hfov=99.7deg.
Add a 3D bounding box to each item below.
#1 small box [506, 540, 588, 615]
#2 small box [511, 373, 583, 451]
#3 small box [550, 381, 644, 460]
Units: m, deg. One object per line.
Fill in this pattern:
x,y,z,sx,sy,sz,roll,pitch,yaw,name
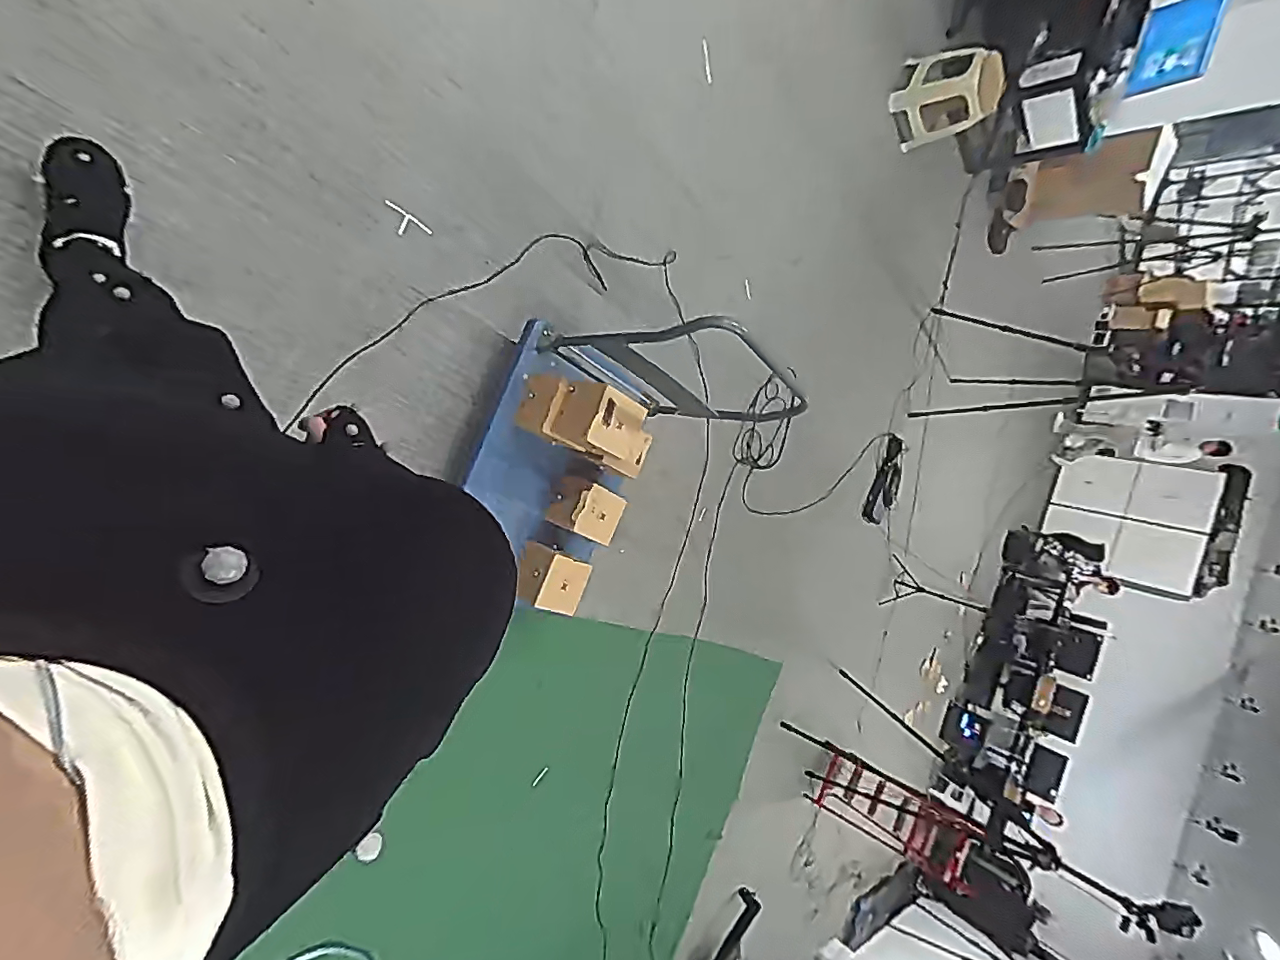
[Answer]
-0.303,0.309,1.740,0.168,0.176,0.179,29,80,-44,small box
-0.259,-0.214,1.648,0.179,0.176,0.168,-46,127,-27,small box
-0.126,-0.174,1.543,0.179,0.176,0.168,27,83,-46,small box
